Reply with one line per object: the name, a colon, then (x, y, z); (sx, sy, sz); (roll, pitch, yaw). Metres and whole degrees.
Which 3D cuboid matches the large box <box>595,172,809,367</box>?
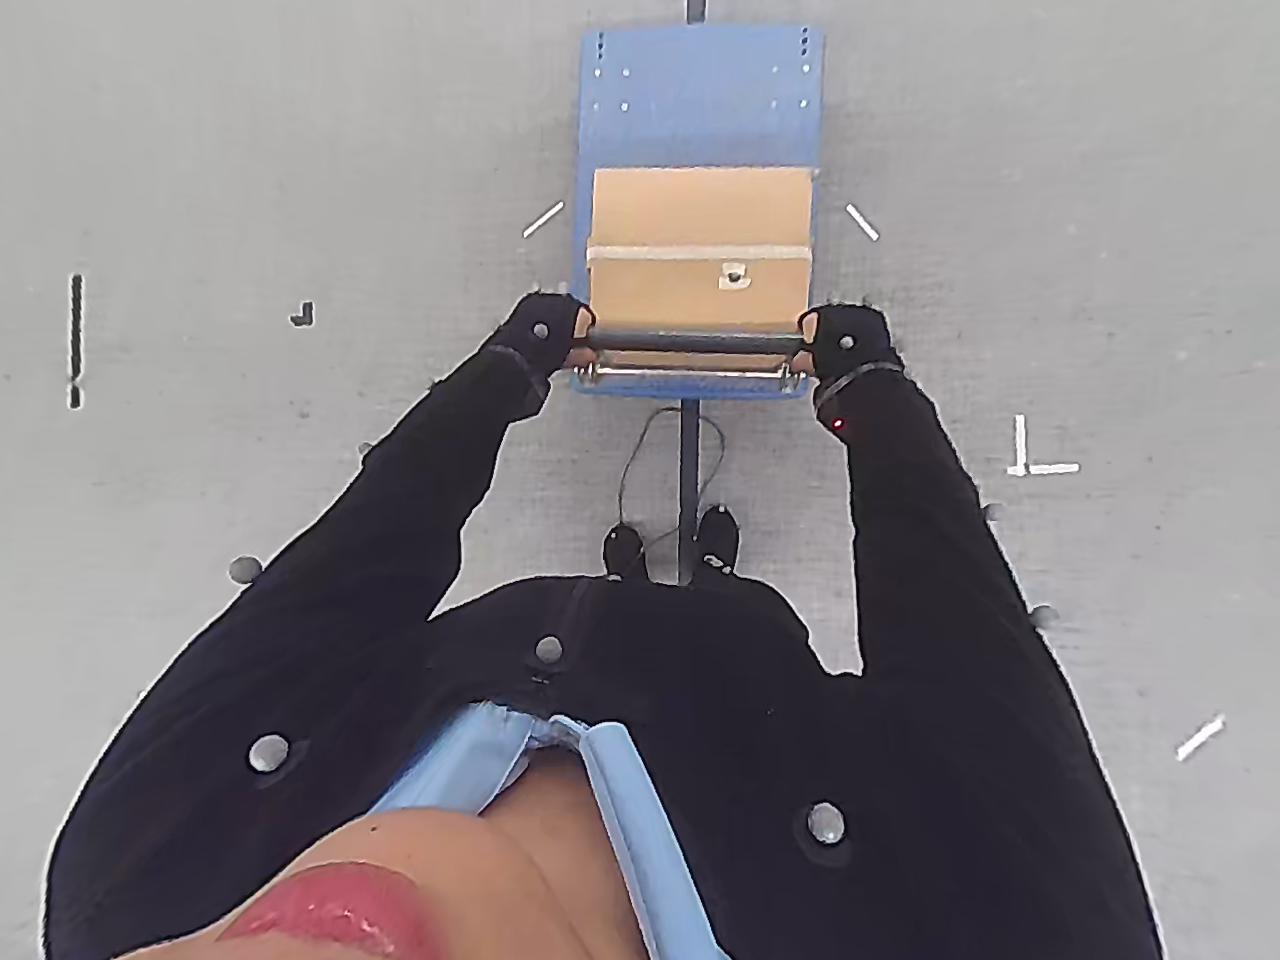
large box: (0.122, -0.425, 1.166); (0.408, 0.320, 0.320); (2, 92, 4)
